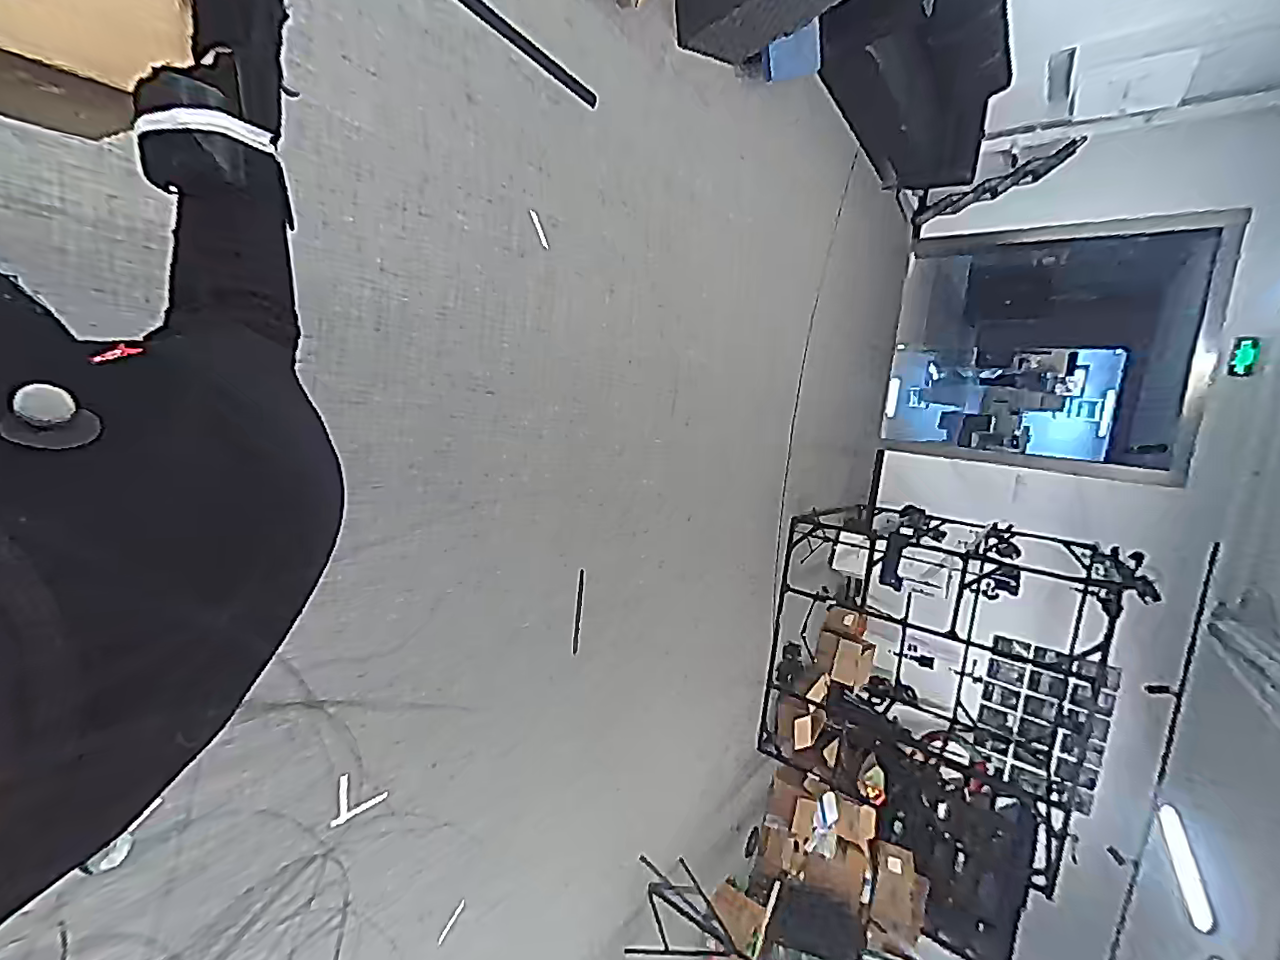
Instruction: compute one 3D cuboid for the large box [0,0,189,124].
[{"bbox_3d":[-0.541,-0.441,0.279,0.408,0.320,0.320,-10,116,-53],"label":"large box"}]
